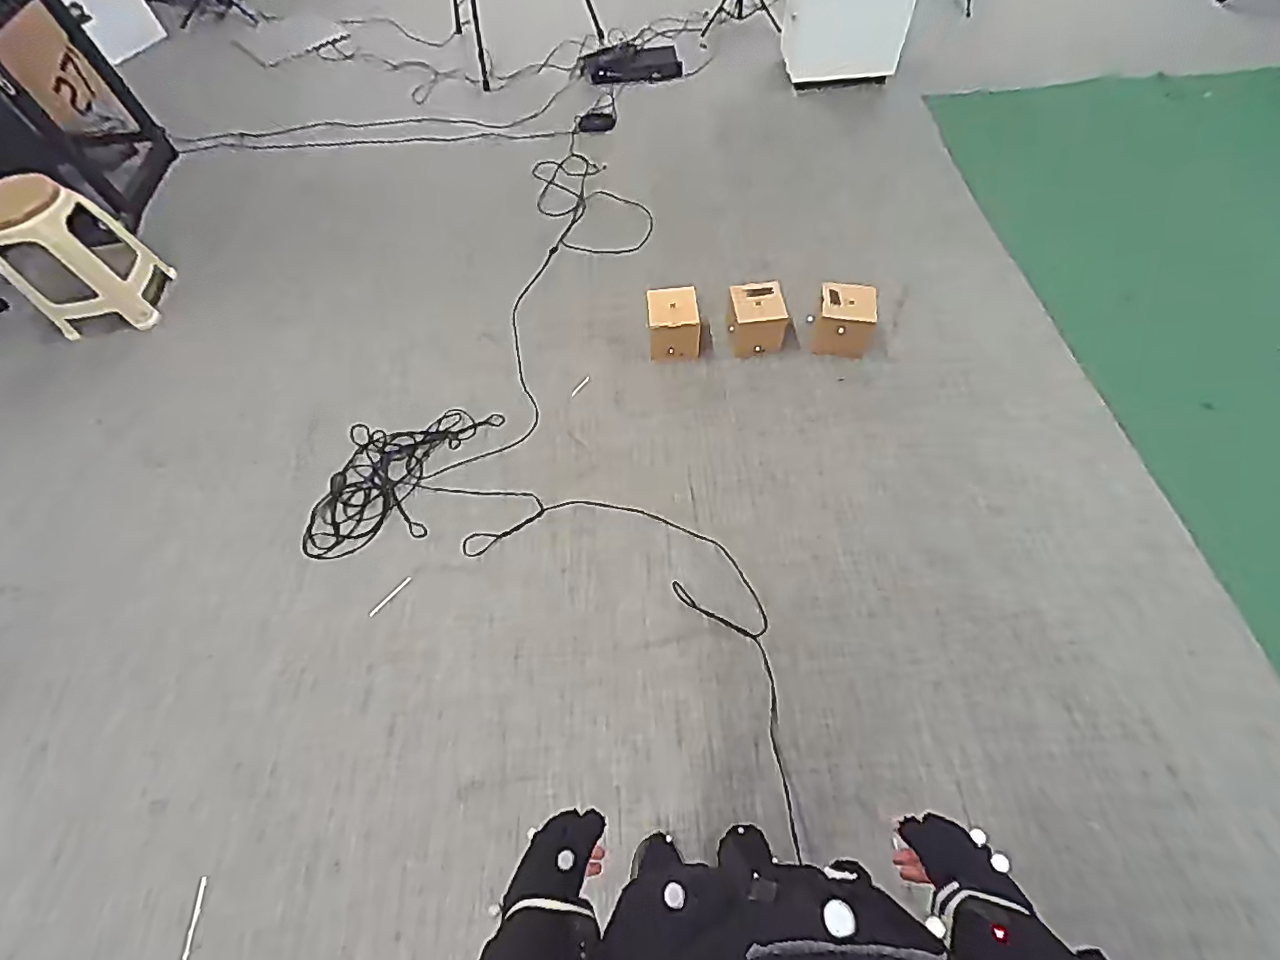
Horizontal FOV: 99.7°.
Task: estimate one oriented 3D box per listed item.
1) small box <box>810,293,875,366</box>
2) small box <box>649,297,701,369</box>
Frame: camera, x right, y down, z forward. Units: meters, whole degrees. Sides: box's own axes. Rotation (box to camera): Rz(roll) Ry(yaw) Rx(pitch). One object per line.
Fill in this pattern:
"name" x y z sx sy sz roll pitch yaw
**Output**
"small box" 0.688 -0.512 1.850 0.179 0.176 0.168 8 60 7
"small box" 0.119 -0.510 1.887 0.168 0.176 0.179 -5 59 1
